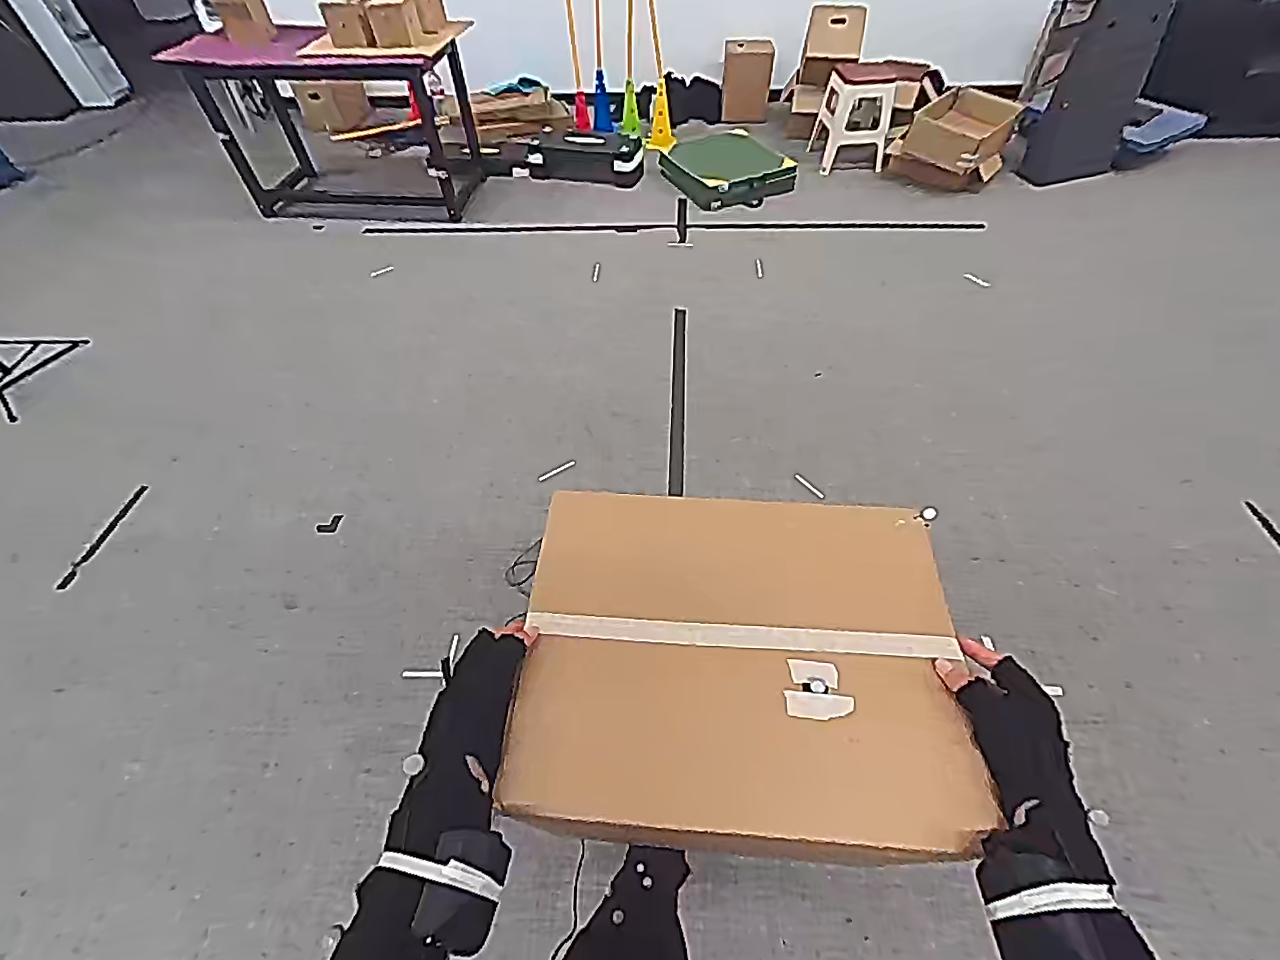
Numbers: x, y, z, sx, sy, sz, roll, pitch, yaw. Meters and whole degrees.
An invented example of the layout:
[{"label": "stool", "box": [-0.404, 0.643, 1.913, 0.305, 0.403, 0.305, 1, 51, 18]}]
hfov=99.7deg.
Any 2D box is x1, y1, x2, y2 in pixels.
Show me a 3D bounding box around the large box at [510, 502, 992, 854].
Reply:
[{"label": "large box", "box": [0.098, 0.244, 0.648, 0.408, 0.320, 0.320, 3, 54, 4]}]
